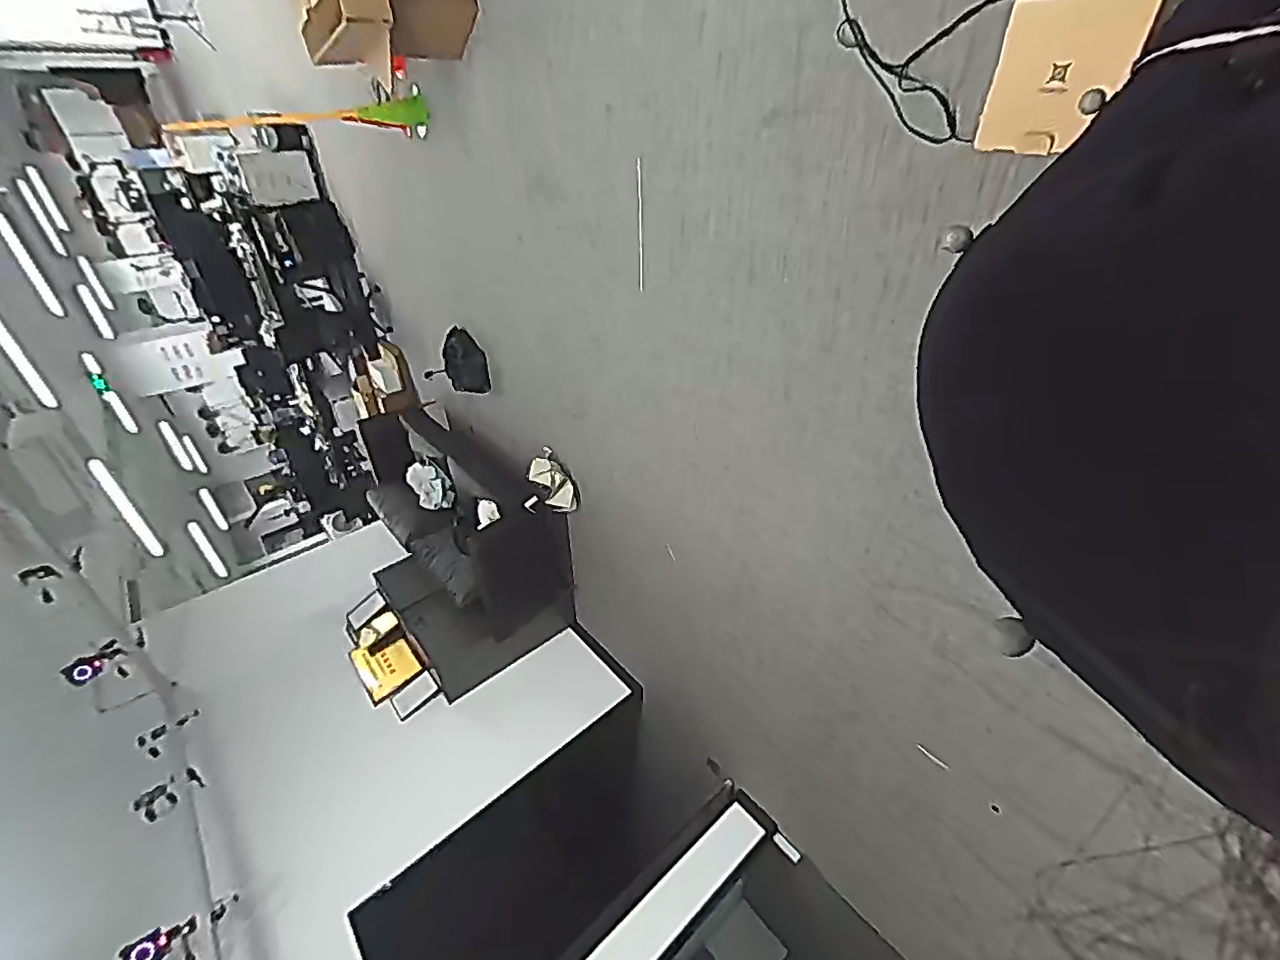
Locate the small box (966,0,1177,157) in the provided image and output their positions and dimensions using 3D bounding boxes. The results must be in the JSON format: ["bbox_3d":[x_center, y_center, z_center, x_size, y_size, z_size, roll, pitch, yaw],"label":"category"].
[{"bbox_3d":[0.610,-0.575,0.769,0.168,0.176,0.179,34,140,38],"label":"small box"}]
